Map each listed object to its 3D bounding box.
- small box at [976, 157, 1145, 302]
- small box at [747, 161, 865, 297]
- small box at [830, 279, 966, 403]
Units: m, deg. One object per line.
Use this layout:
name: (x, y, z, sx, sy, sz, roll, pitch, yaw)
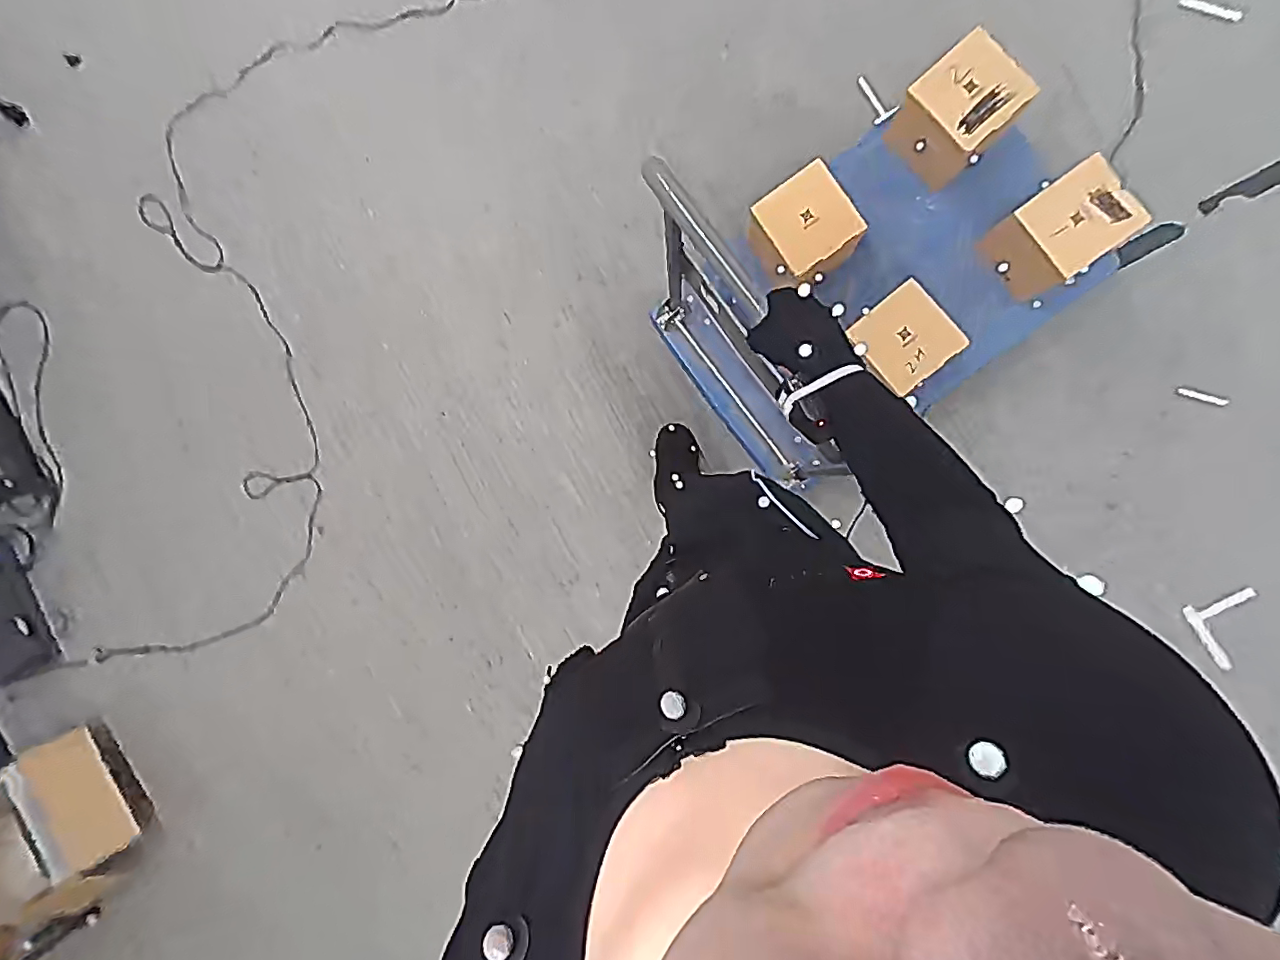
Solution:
small box: (0.836, -0.497, 1.098, 0.179, 0.176, 0.168, -36, 87, 9)
small box: (0.346, -0.529, 1.169, 0.168, 0.176, 0.179, -34, 88, 8)
small box: (0.533, -0.283, 1.149, 0.168, 0.176, 0.179, -40, 86, 8)
